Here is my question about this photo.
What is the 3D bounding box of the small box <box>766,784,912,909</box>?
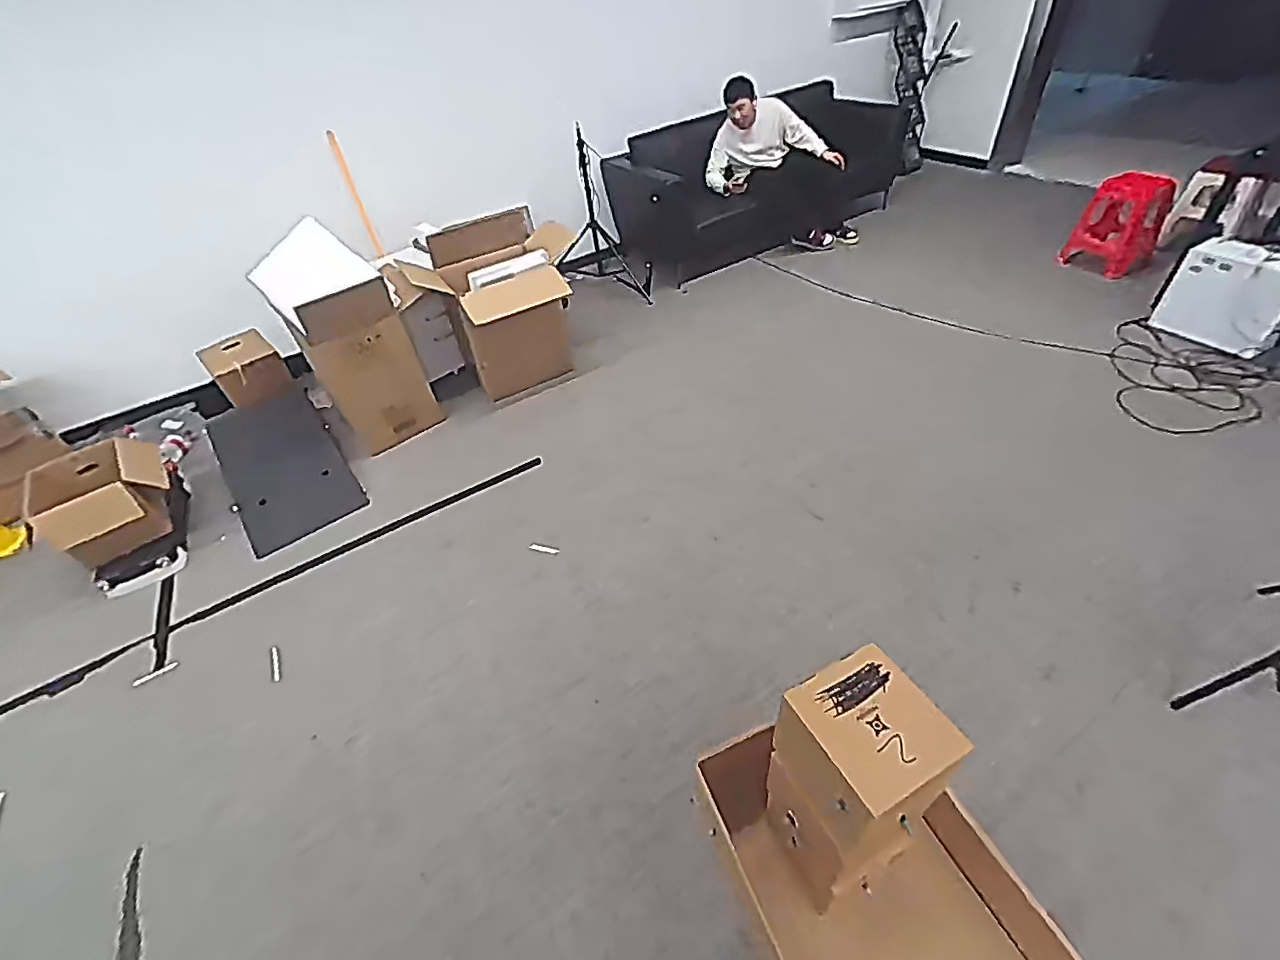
[{"bbox_3d":[0.343,0.624,0.973,0.168,0.176,0.179,-22,45,-15],"label":"small box"}]

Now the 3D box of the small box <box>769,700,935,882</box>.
[{"bbox_3d":[0.325,0.498,0.869,0.179,0.176,0.168,-23,44,-17],"label":"small box"}]
